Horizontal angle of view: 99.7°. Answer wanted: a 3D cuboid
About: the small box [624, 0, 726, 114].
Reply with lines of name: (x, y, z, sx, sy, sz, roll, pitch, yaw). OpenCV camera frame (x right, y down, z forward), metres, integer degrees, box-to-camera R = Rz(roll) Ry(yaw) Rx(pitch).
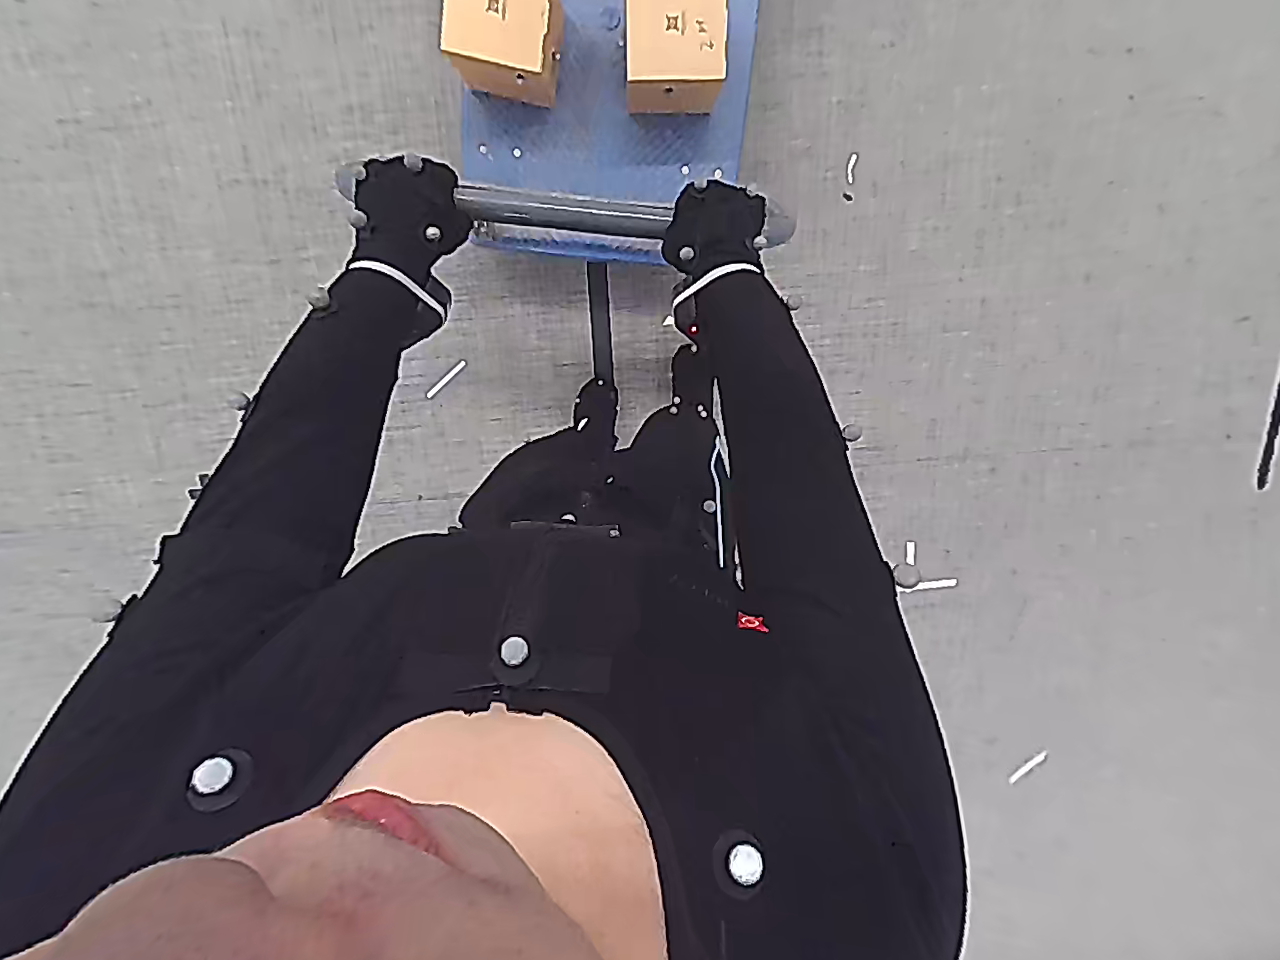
small box: (0.060, -0.802, 1.007, 0.179, 0.176, 0.168, -1, 108, -1)

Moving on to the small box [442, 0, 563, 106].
small box: (-0.246, -0.823, 0.995, 0.179, 0.176, 0.168, 9, 106, -6)
